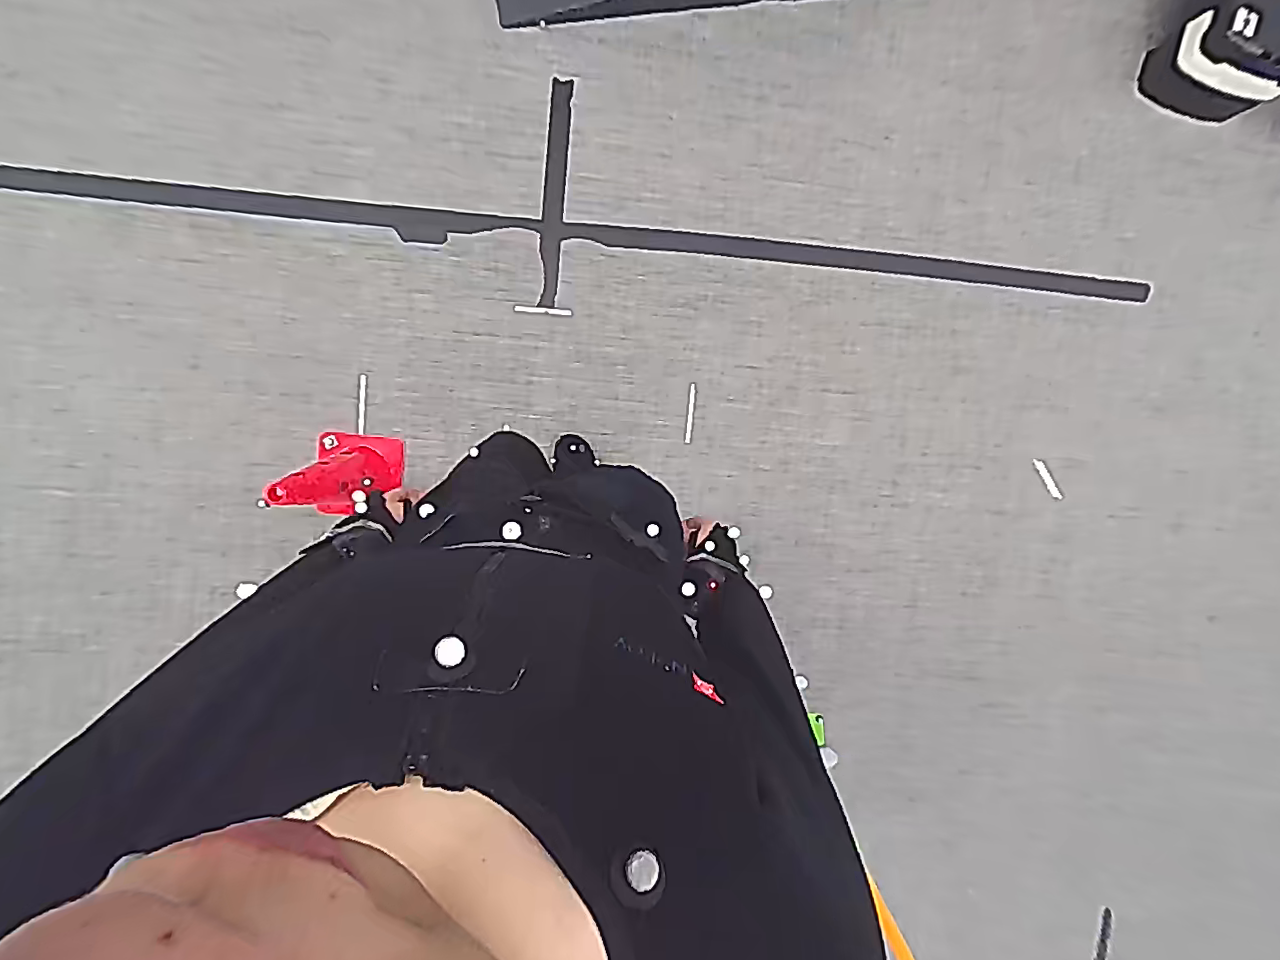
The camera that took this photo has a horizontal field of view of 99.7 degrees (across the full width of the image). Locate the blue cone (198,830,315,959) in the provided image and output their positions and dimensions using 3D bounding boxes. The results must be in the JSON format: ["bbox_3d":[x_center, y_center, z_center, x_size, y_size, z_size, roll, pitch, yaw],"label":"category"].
[{"bbox_3d":[-0.917,1.004,1.221,0.193,0.380,0.192,7,96,-6],"label":"blue cone"}]

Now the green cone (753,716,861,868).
[{"bbox_3d":[0.425,0.769,1.308,0.200,0.368,0.202,-6,98,-4],"label":"green cone"}]
